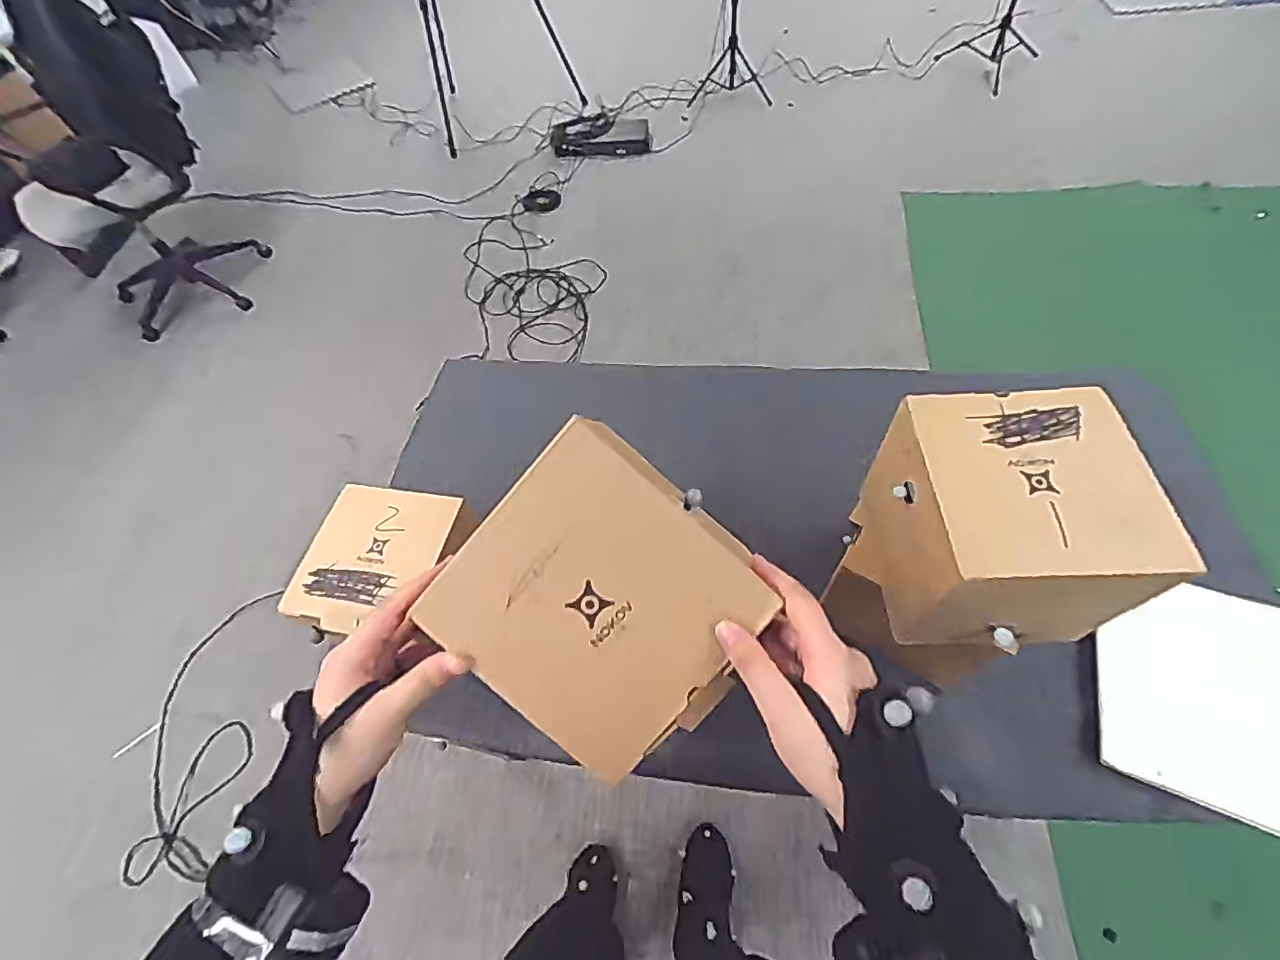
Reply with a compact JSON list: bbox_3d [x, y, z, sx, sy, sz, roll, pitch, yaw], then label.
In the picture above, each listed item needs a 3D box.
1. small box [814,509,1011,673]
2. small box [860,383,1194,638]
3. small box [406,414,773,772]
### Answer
[{"bbox_3d":[0.332,0.108,0.644,0.179,0.176,0.168,28,65,22],"label":"small box"},{"bbox_3d":[0.316,0.034,0.496,0.168,0.176,0.179,-3,58,6],"label":"small box"},{"bbox_3d":[-0.029,0.067,0.418,0.179,0.176,0.168,40,94,0],"label":"small box"}]
